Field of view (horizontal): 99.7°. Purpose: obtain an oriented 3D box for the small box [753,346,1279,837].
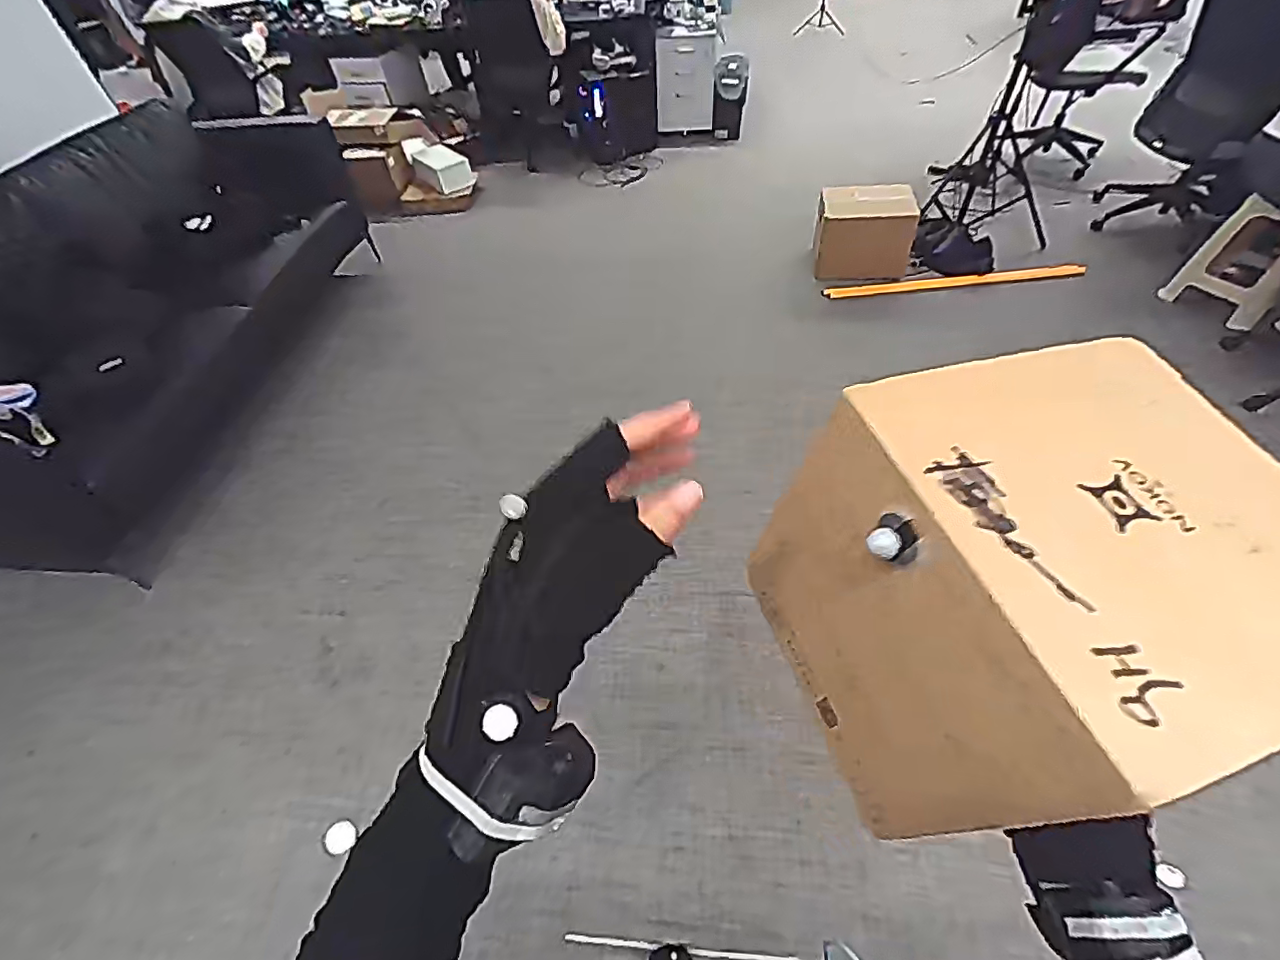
[{"bbox_3d":[0.185,0.057,0.273,0.179,0.176,0.168,-10,55,-16],"label":"small box"}]
